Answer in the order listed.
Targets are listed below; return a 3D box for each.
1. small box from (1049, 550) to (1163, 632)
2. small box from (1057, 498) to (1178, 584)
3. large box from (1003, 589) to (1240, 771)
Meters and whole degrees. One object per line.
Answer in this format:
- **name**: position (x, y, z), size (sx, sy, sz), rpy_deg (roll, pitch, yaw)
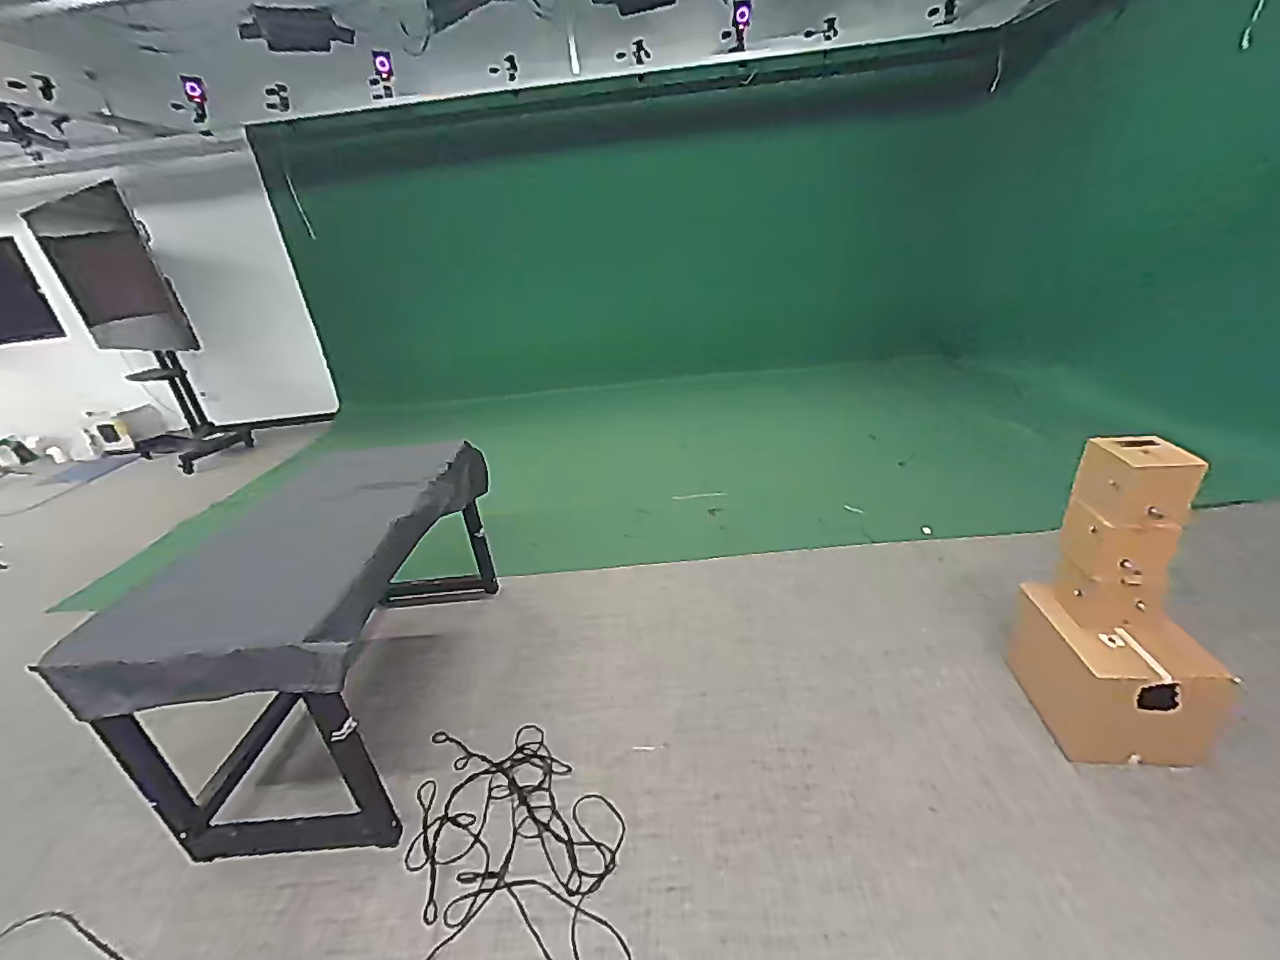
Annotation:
- **small box**: position (1.302, 0.312, 1.527), size (0.168, 0.176, 0.179), rpy_deg (-2, 24, 8)
- **small box**: position (1.279, 0.162, 1.466), size (0.168, 0.176, 0.179), rpy_deg (-1, 26, 10)
- **large box**: position (1.334, 0.559, 1.564), size (0.320, 0.320, 0.408), rpy_deg (-4, 26, 9)
